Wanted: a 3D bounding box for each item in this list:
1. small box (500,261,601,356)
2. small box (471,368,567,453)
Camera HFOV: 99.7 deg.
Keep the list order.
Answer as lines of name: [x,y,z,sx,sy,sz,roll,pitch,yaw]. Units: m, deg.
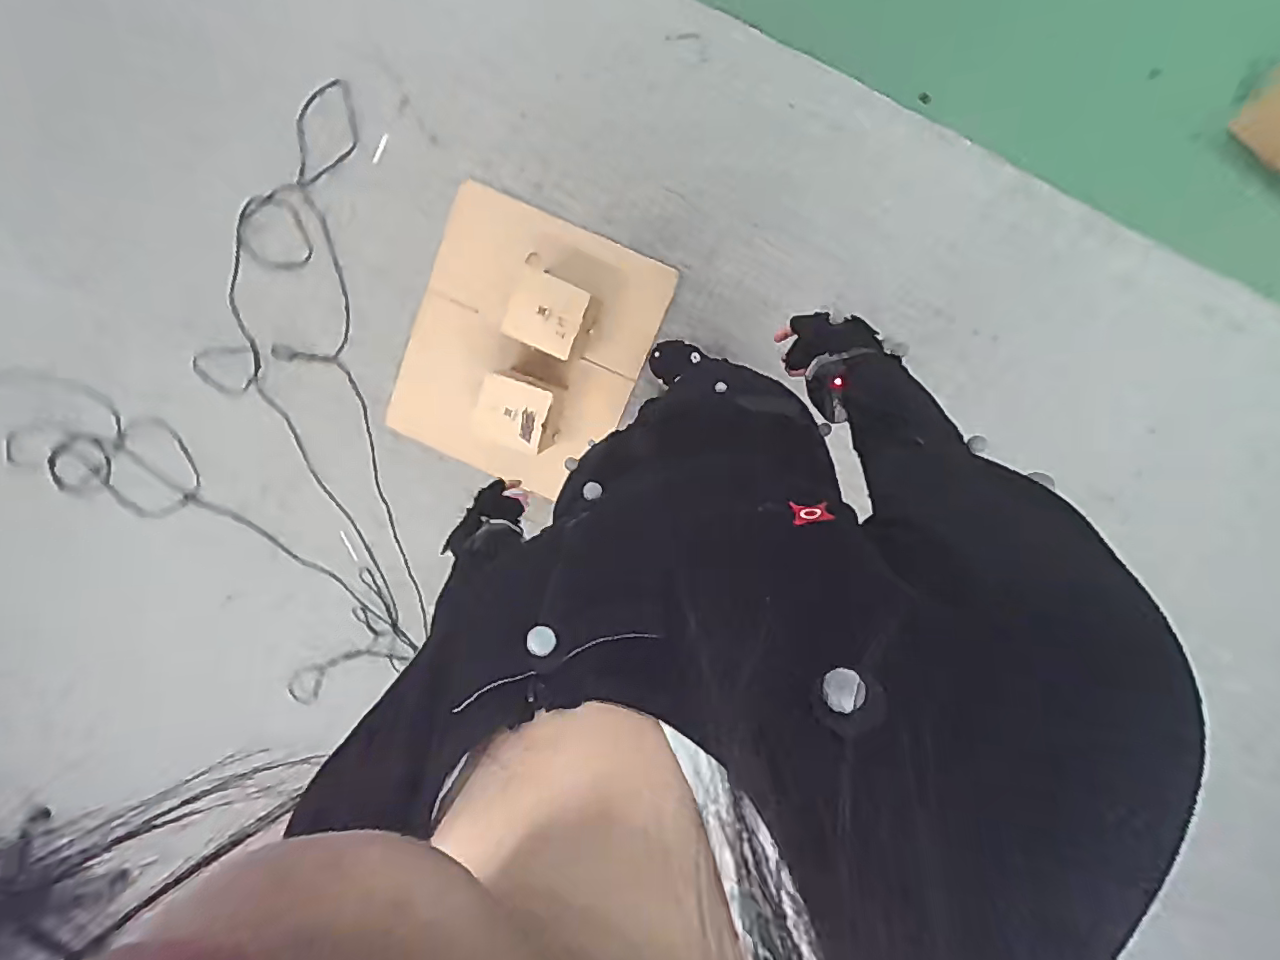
small box: [-0.213,-0.413,1.327,0.179,0.176,0.168,23,105,0]
small box: [-0.302,-0.185,1.384,0.179,0.176,0.168,19,104,2]
